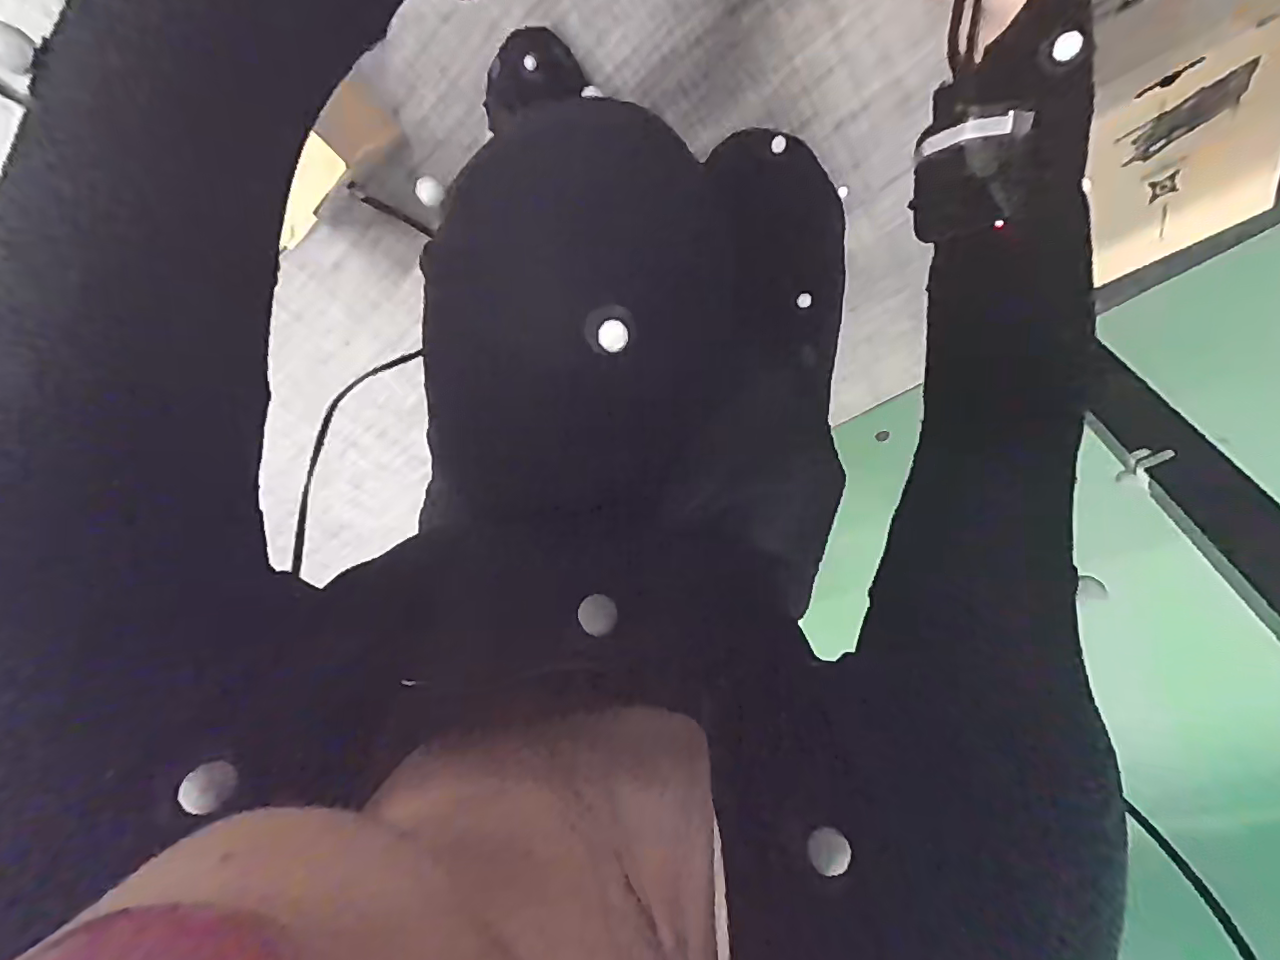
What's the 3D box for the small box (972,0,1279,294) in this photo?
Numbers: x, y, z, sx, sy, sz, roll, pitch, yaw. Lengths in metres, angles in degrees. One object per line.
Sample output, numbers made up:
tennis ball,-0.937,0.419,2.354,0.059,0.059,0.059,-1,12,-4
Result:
small box,0.443,-0.321,0.510,0.168,0.176,0.179,-24,132,24
